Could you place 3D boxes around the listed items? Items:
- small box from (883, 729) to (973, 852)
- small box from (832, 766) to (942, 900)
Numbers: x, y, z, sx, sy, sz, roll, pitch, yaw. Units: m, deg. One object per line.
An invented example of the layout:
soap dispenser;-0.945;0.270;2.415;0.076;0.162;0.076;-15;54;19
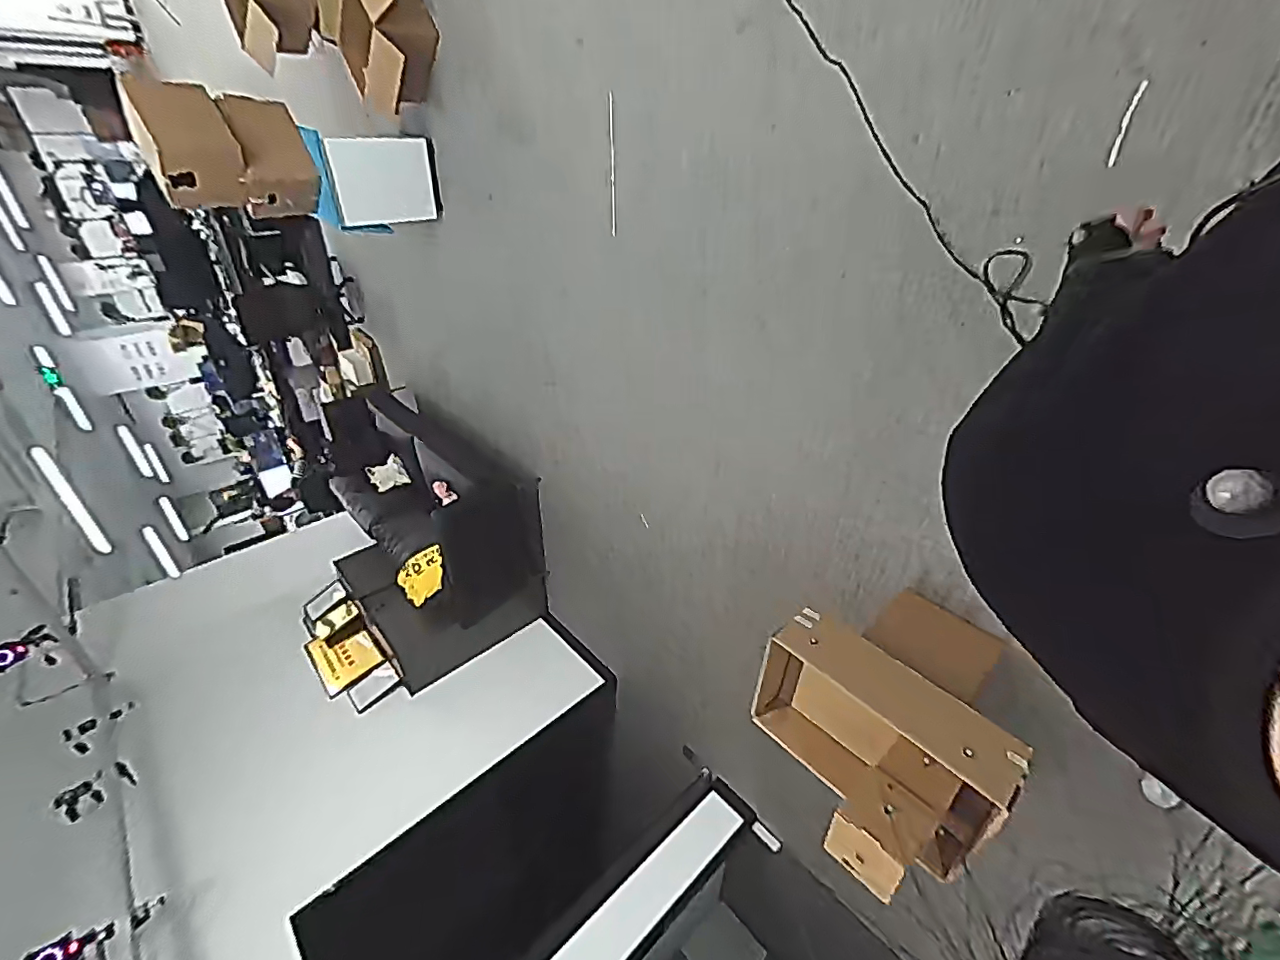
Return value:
small box;0.716;0.785;1.380;0.168;0.176;0.179;29;132;39
small box;0.588;0.828;1.285;0.168;0.176;0.179;30;133;40
